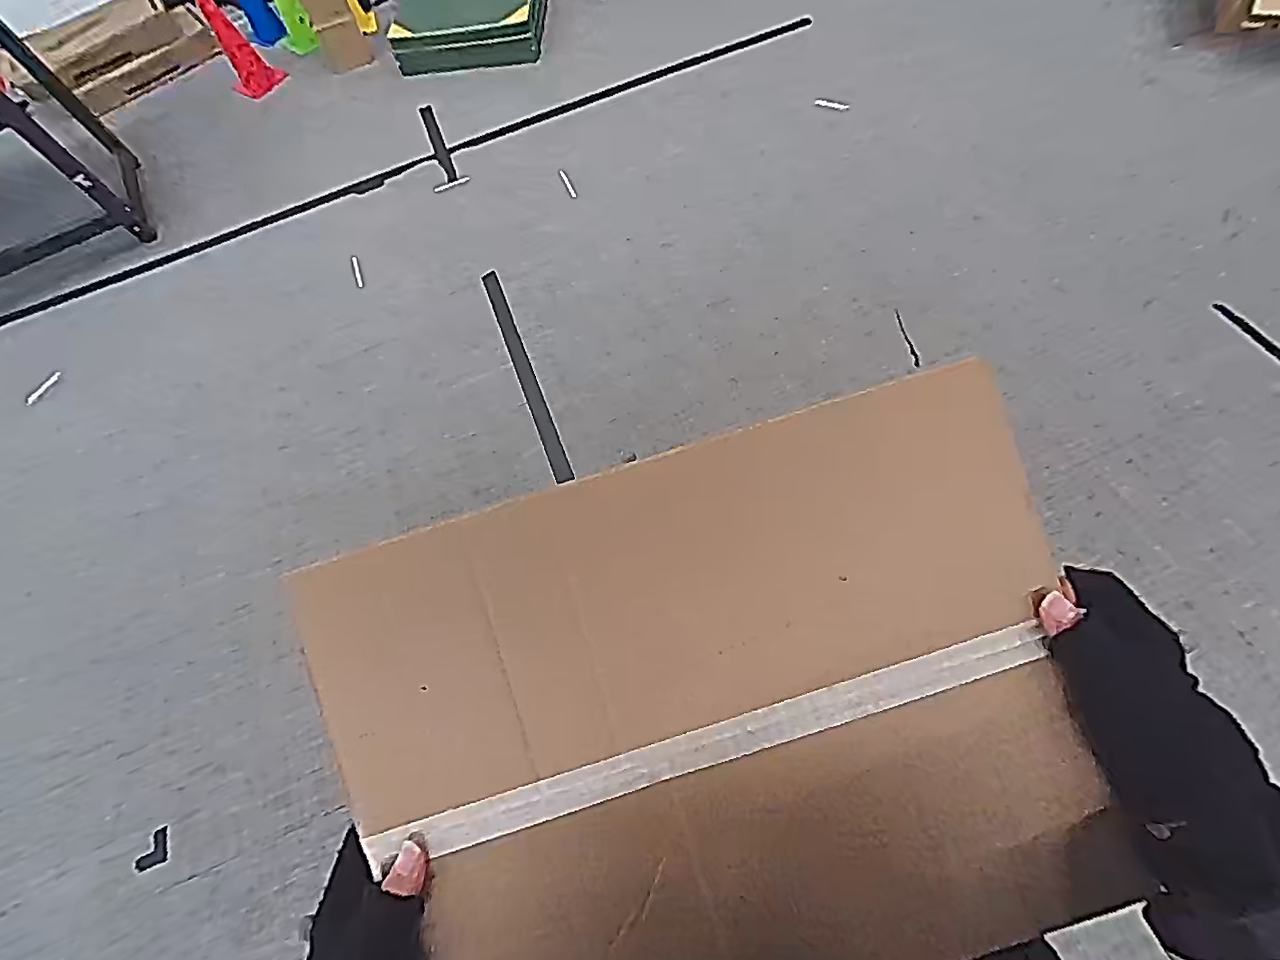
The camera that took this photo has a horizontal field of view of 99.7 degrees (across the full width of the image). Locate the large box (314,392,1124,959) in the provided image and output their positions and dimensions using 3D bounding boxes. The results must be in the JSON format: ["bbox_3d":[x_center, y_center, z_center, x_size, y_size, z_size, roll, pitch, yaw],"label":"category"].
[{"bbox_3d":[0.047,0.154,0.457,0.408,0.320,0.320,-18,89,-1],"label":"large box"}]
